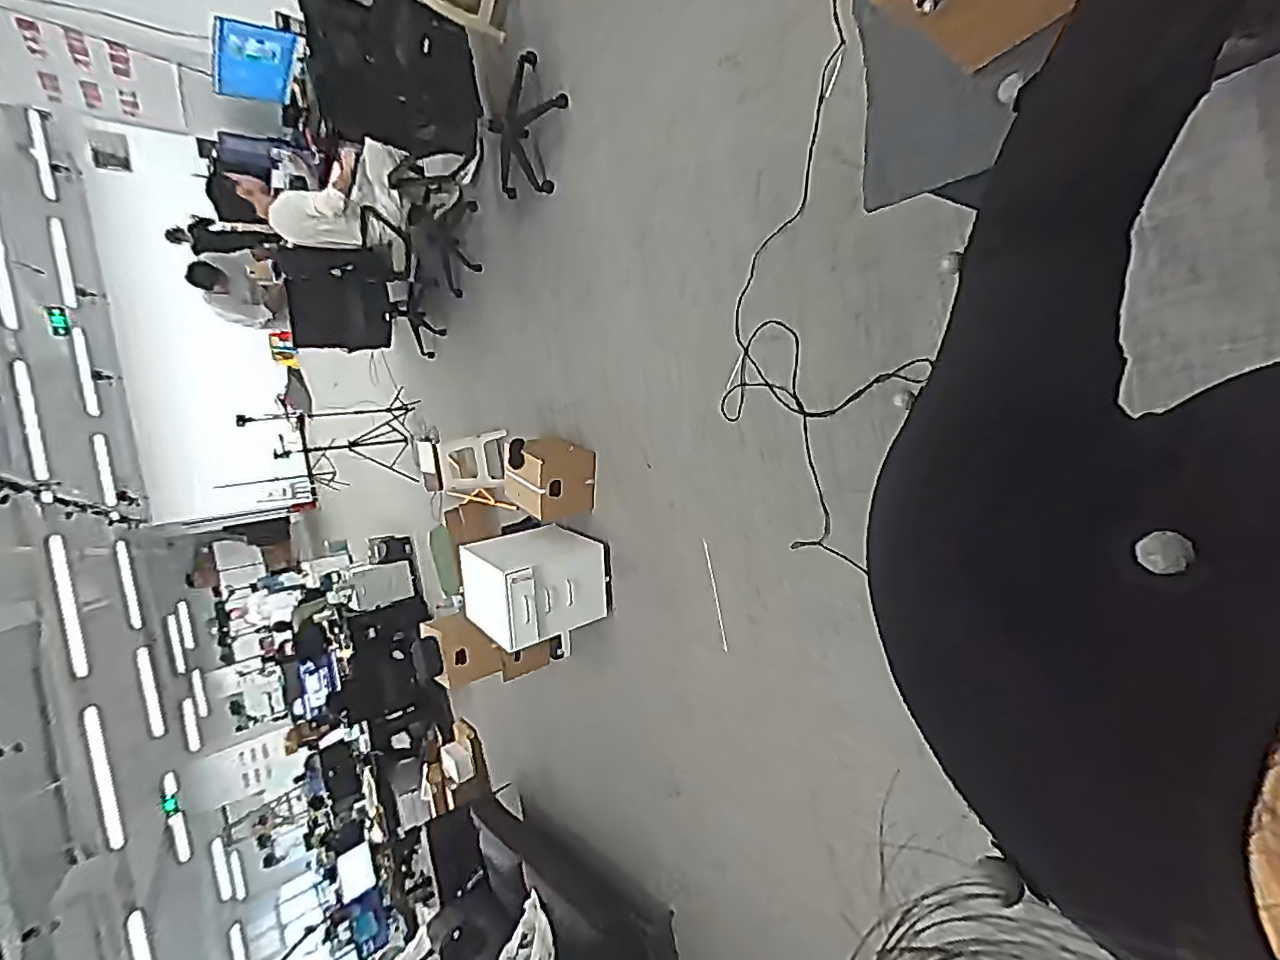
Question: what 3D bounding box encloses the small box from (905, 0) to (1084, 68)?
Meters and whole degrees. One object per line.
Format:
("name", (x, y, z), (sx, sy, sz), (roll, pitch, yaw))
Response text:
("small box", (0.381, -0.576, 0.548), (0.179, 0.176, 0.168), (-10, 89, 53))
